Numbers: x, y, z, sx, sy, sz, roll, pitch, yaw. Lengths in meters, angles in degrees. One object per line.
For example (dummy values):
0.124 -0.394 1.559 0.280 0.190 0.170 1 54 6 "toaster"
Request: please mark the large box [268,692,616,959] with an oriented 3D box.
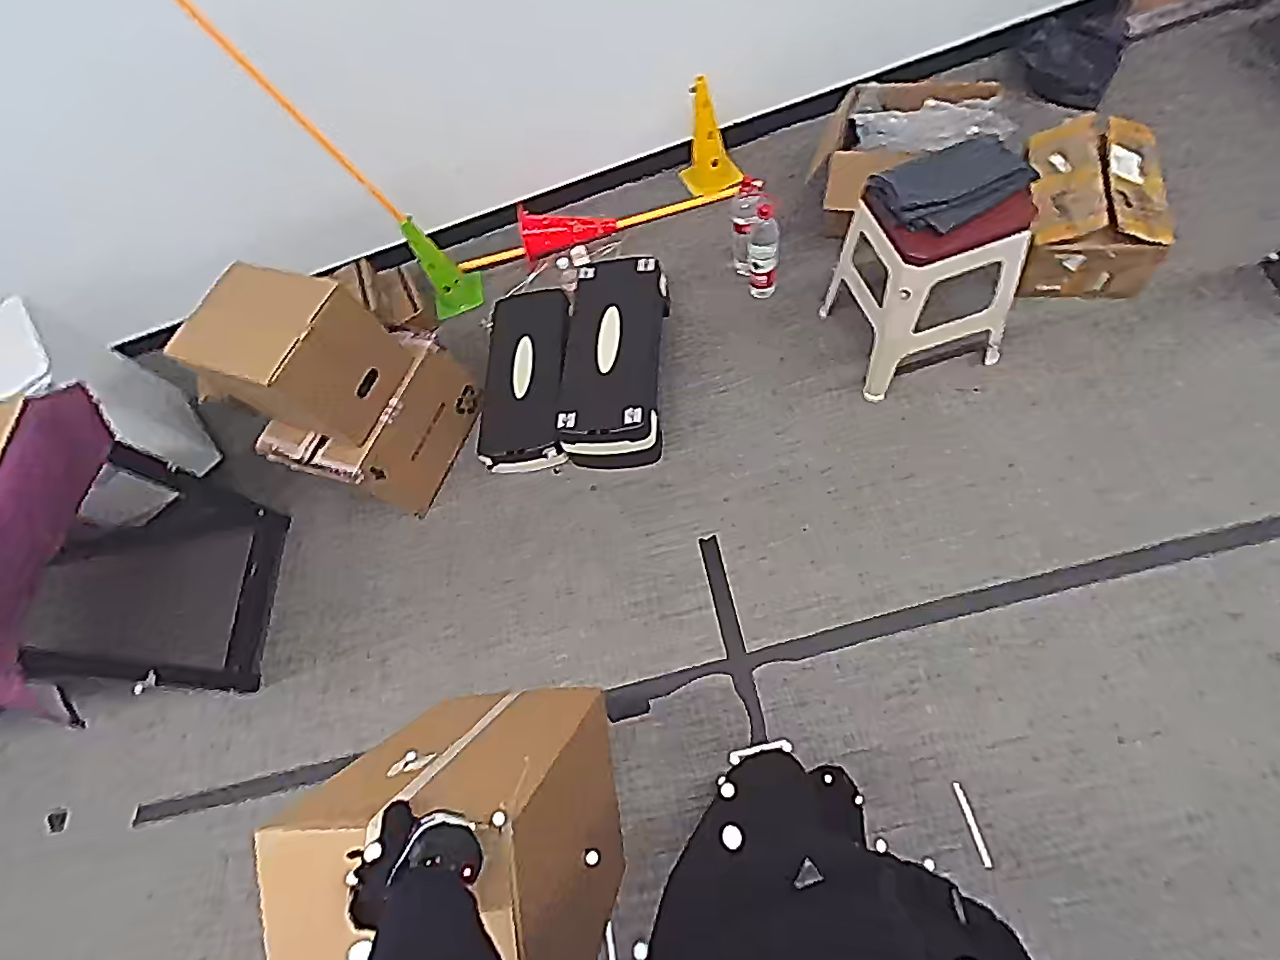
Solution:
-0.236 0.541 0.788 0.320 0.408 0.320 -8 88 11 "large box"
